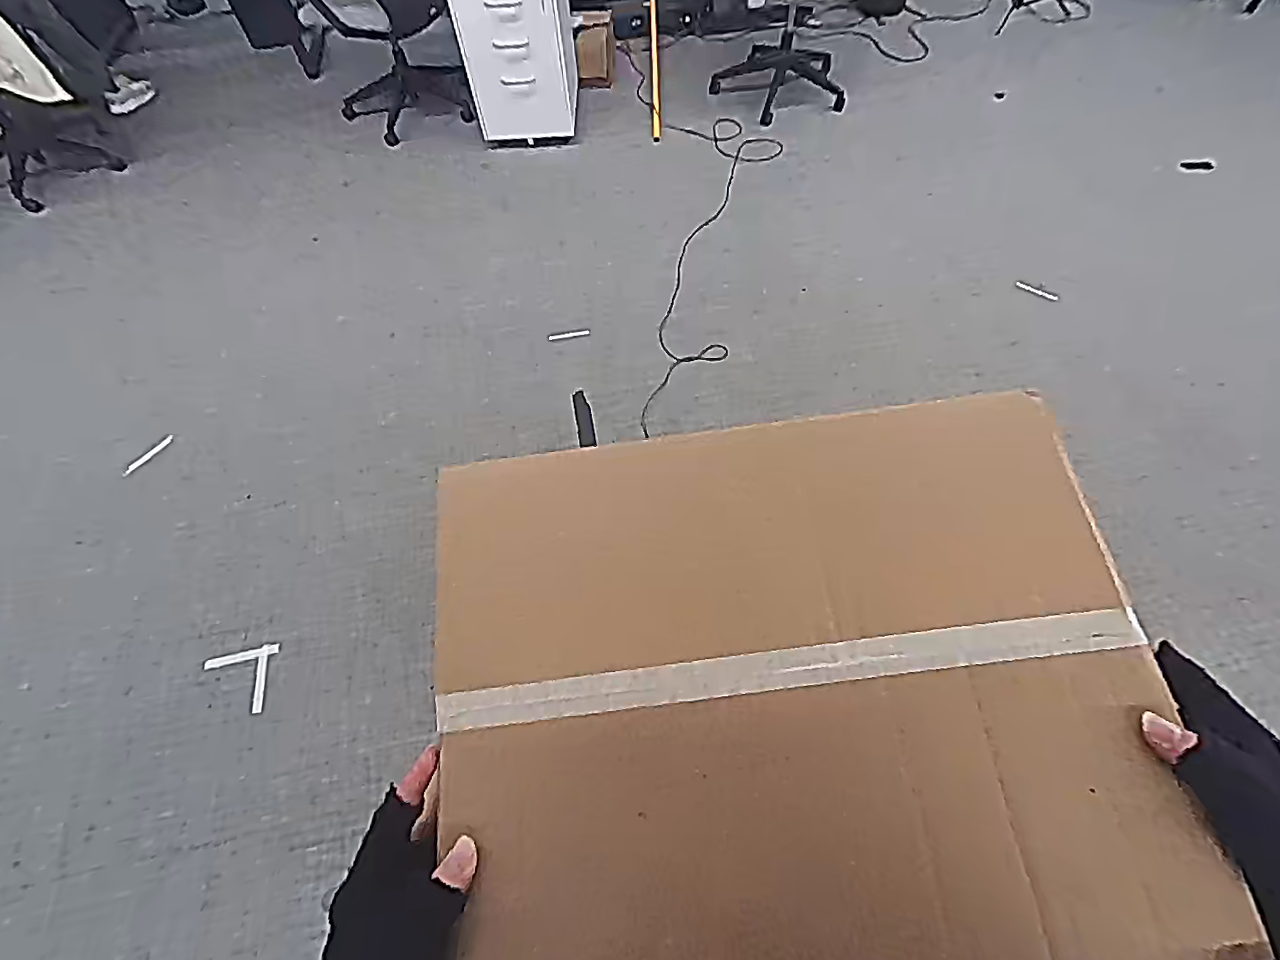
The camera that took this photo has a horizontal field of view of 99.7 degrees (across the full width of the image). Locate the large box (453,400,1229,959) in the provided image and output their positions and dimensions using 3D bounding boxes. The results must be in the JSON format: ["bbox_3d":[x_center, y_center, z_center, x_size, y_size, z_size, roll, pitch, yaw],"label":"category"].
[{"bbox_3d":[0.093,0.166,0.466,0.408,0.320,0.320,-8,71,2],"label":"large box"}]
